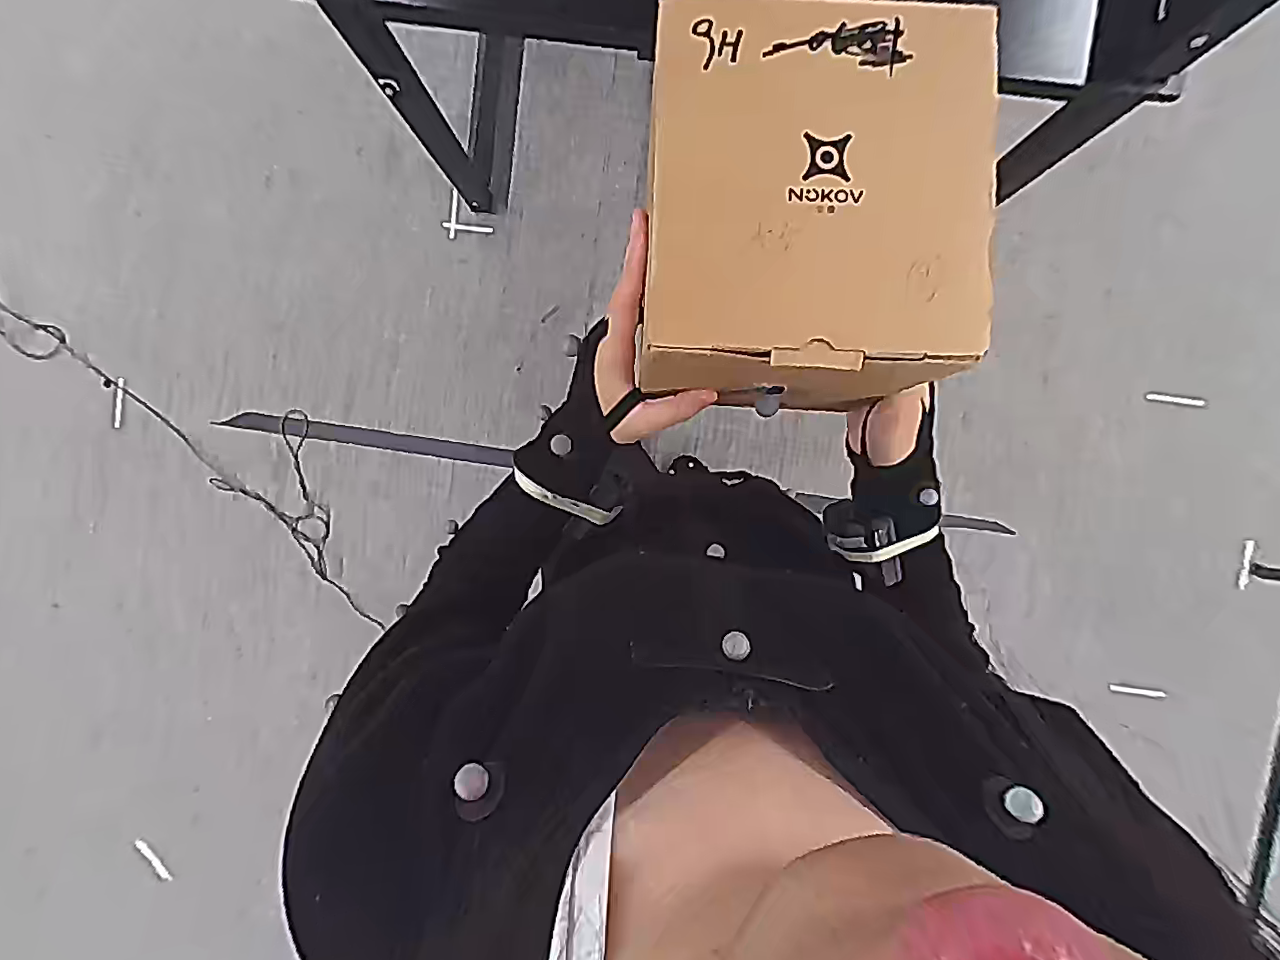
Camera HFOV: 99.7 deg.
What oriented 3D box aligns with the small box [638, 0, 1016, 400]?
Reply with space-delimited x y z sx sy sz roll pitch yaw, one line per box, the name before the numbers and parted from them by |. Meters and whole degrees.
small box | 0.086 -0.145 0.330 0.168 0.176 0.179 2 91 -2
